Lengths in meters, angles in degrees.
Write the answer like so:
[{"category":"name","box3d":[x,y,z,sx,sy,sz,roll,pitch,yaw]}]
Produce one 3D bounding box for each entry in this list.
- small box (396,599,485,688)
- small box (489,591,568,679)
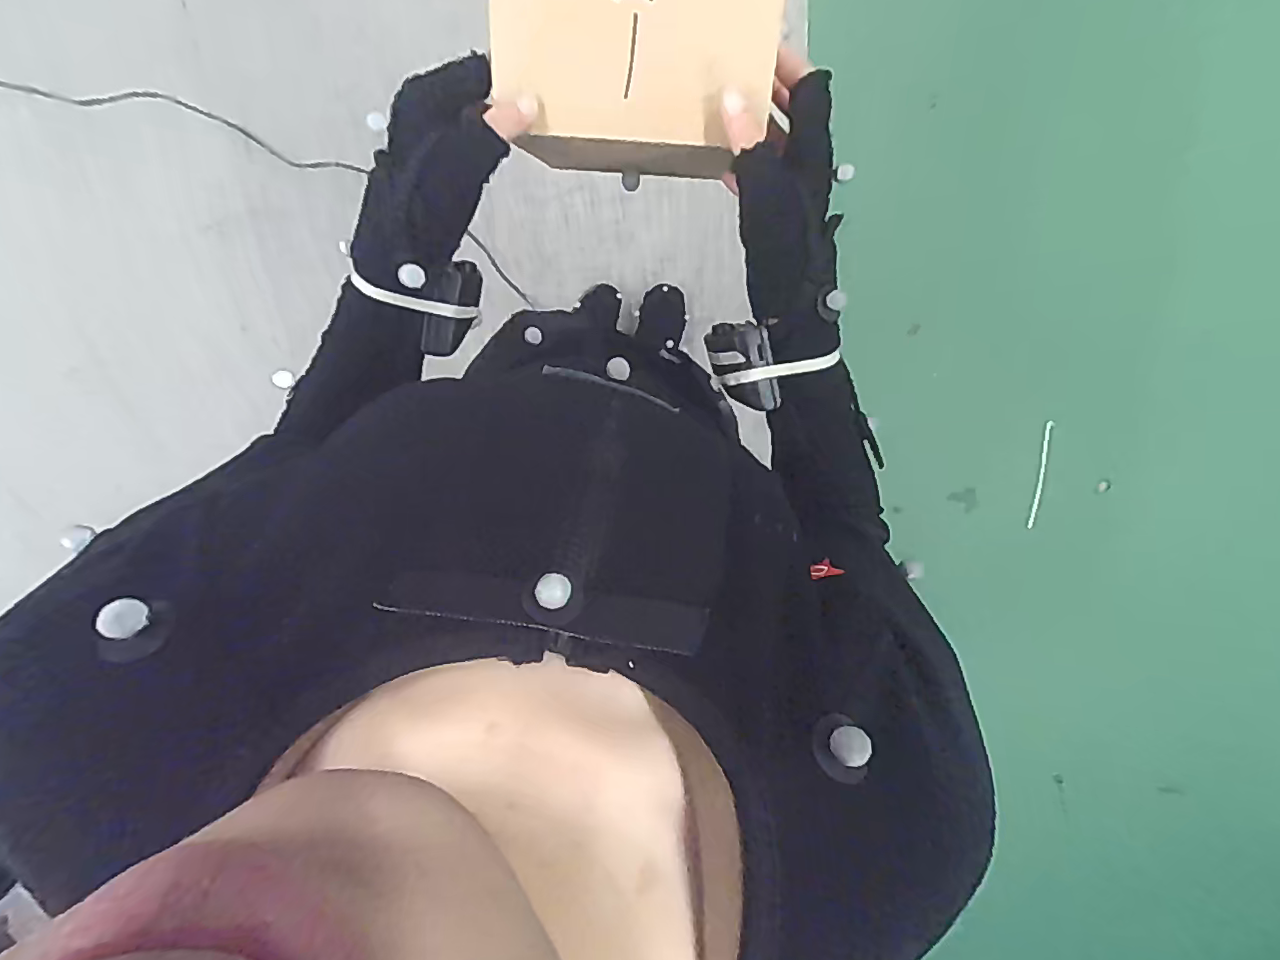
[{"category":"small box","box3d":[-0.542,0.442,1.491,0.168,0.176,0.179,-6,109,3]},{"category":"small box","box3d":[-0.298,0.416,1.477,0.168,0.176,0.179,-4,108,3]}]
